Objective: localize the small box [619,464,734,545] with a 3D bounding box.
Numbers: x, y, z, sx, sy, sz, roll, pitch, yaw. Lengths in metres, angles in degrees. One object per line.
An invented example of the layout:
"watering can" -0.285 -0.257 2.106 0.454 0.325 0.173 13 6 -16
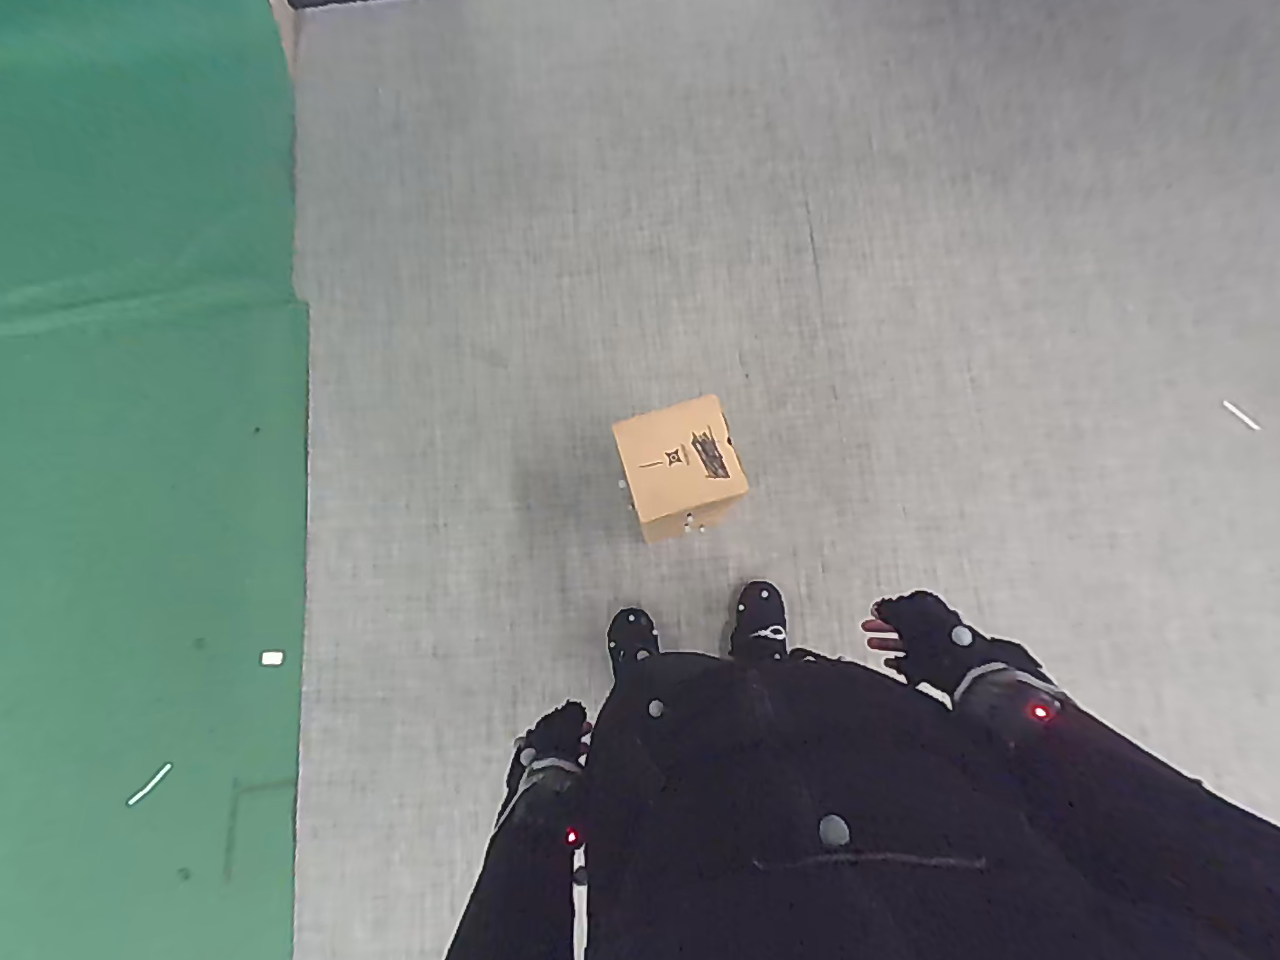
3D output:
"small box" 0.069 0.026 1.082 0.179 0.176 0.168 -20 80 -1

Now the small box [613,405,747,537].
"small box" 0.063 -0.007 0.918 0.179 0.176 0.168 -17 79 0

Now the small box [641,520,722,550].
"small box" 0.074 0.058 1.240 0.179 0.176 0.168 -18 79 0
